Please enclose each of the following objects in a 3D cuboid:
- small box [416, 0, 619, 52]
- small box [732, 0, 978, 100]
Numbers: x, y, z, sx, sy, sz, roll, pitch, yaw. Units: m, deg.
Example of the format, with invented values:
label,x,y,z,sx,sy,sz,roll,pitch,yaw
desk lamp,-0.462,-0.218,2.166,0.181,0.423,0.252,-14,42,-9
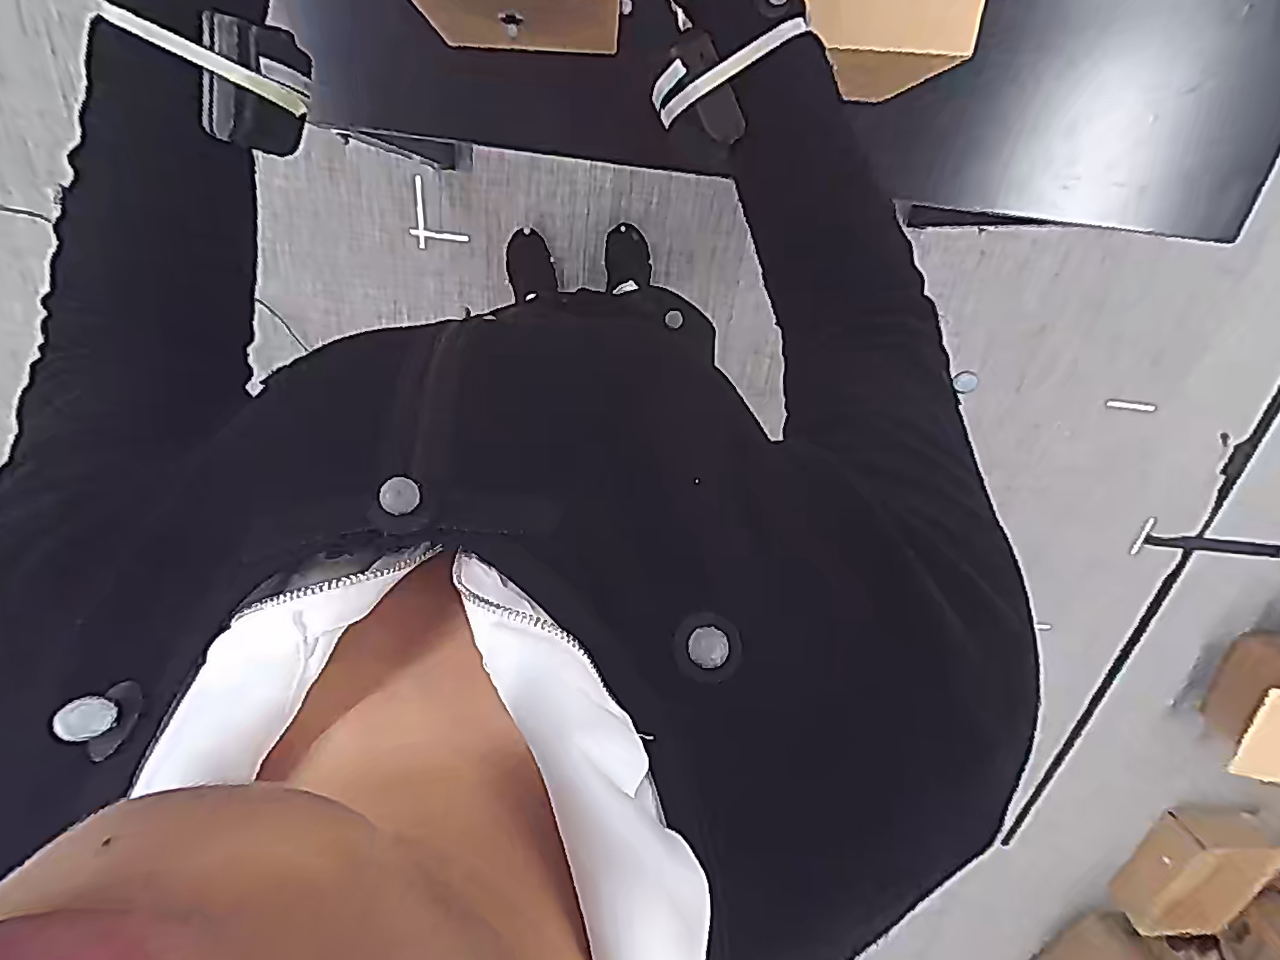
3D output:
label,x,y,z,sx,sy,sz,roll,pitch,yaw
small box,-0.104,-0.492,0.461,0.179,0.176,0.168,1,114,-3
small box,0.188,-0.466,0.492,0.179,0.176,0.168,1,114,-3
